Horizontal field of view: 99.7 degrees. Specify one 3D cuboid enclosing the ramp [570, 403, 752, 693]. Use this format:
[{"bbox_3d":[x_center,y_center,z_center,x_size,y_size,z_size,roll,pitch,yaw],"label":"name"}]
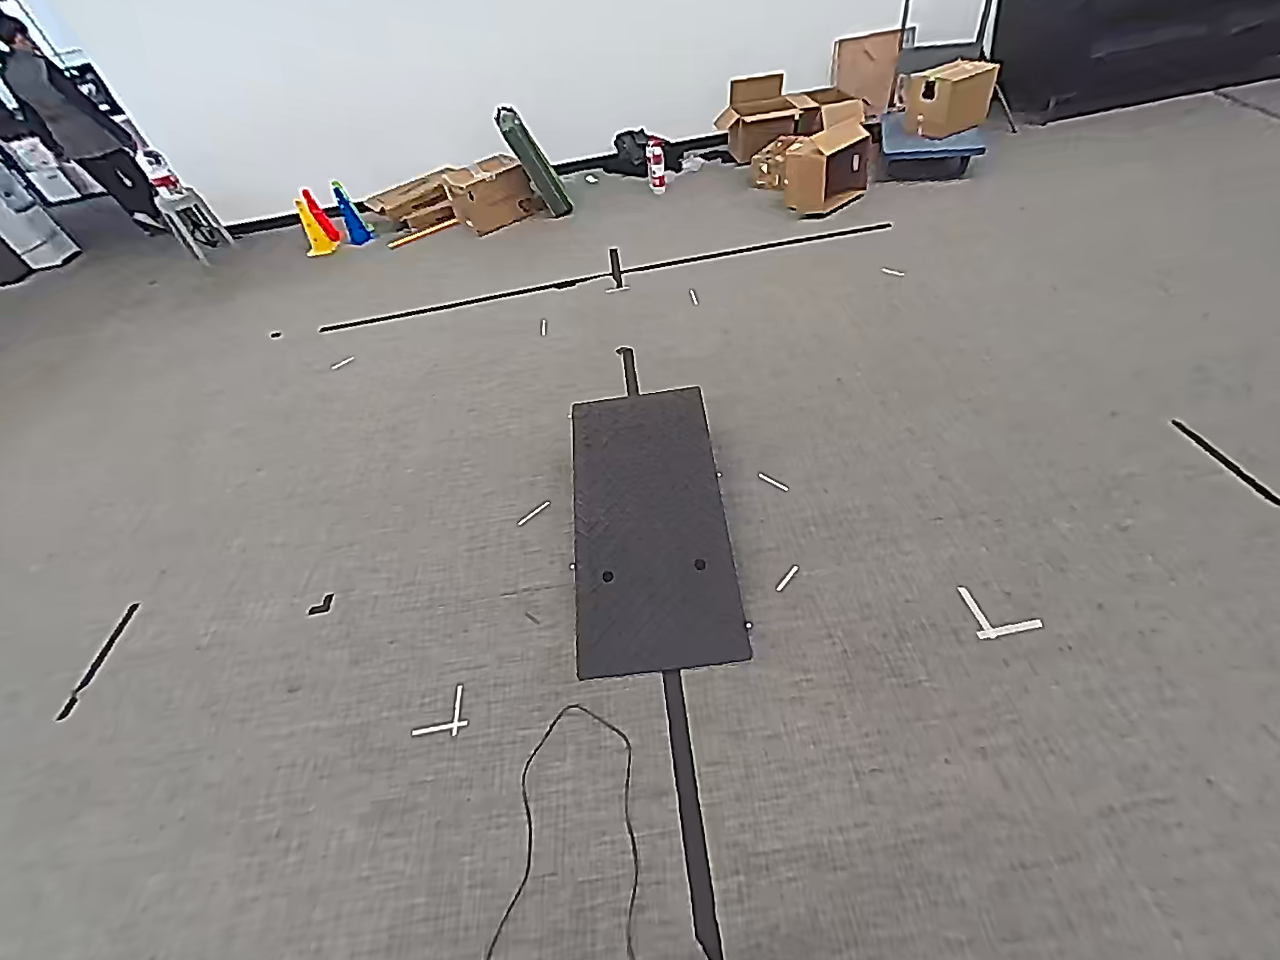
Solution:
[{"bbox_3d":[0.025,0.154,1.783,0.509,0.206,0.991,-10,45,1],"label":"ramp"}]
